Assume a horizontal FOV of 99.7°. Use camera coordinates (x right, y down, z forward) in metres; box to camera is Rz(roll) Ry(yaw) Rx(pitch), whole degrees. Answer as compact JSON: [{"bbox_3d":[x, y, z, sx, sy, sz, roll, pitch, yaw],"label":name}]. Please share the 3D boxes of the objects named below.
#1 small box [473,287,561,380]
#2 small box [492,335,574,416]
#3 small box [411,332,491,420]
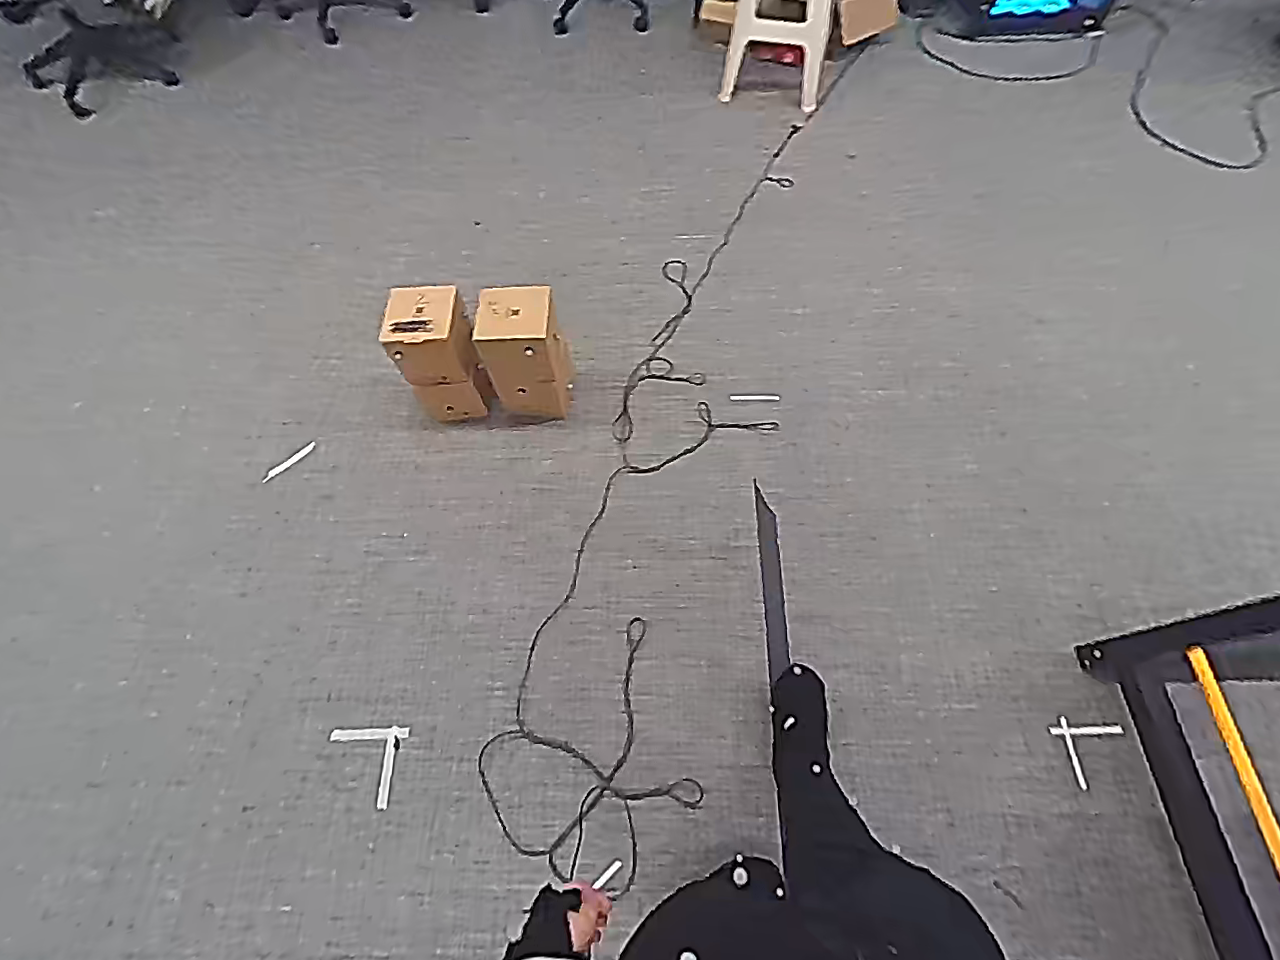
[{"bbox_3d":[-0.301,-0.367,1.370,0.179,0.176,0.168,-1,63,3],"label":"small box"},{"bbox_3d":[-0.294,-0.294,1.518,0.179,0.176,0.168,5,64,4],"label":"small box"},{"bbox_3d":[-0.527,-0.292,1.529,0.168,0.176,0.179,-6,64,-1],"label":"small box"}]
